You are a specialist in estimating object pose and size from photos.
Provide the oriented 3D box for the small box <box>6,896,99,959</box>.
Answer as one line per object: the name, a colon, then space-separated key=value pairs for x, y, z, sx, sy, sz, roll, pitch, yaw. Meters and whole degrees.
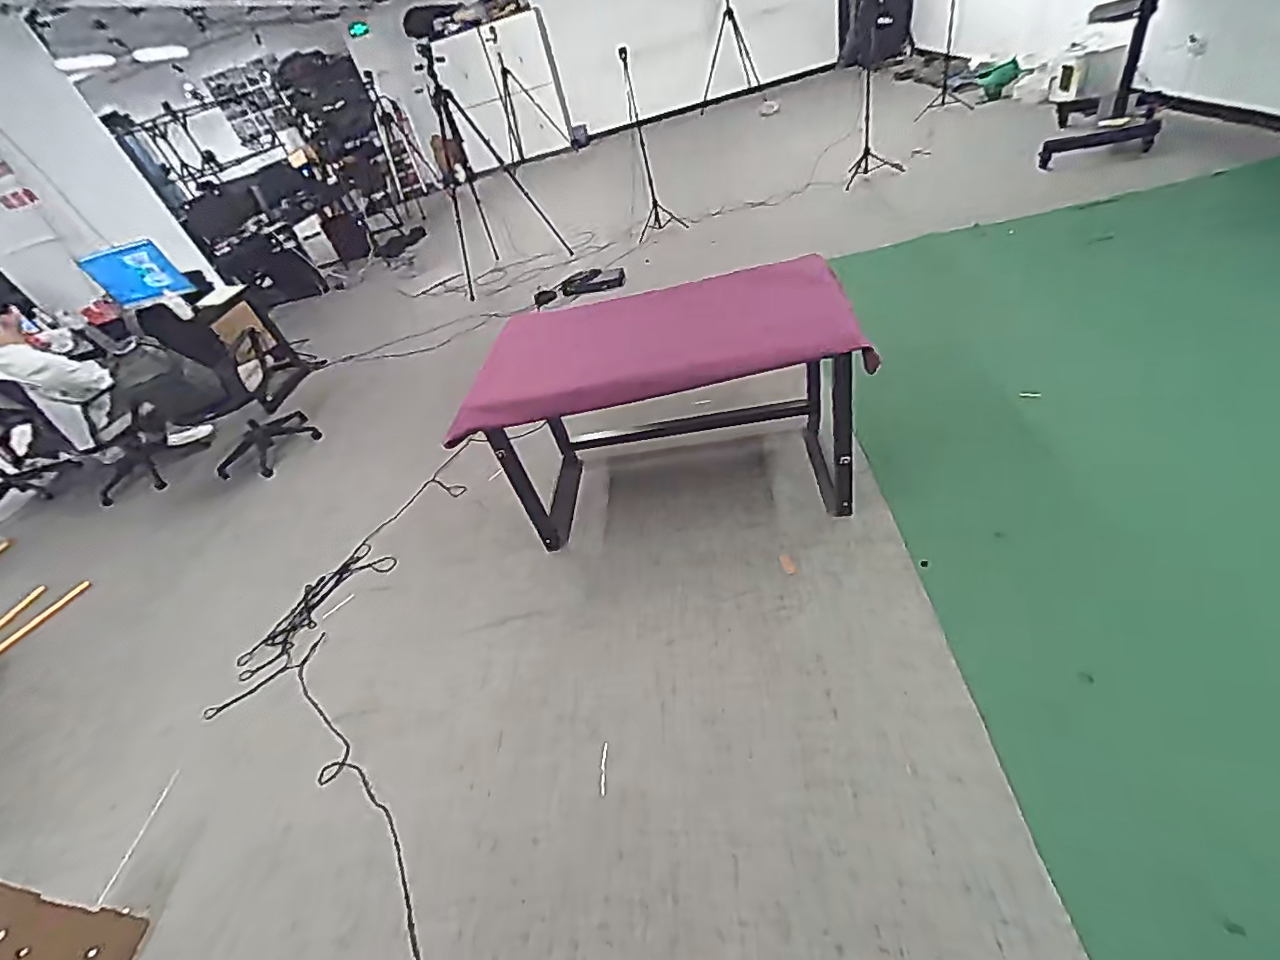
small box: x=-1.487 y=1.128 z=1.300 sx=0.168 sy=0.176 sz=0.179 roll=-9 pitch=41 yaw=9

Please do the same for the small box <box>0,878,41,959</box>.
small box: x=-1.512 y=1.004 z=1.196 sx=0.168 sy=0.176 sz=0.179 roll=-11 pitch=40 yaw=8

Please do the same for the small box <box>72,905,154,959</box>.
small box: x=-1.446 y=1.241 z=1.413 sx=0.168 sy=0.176 sz=0.179 roll=-10 pitch=40 yaw=10
